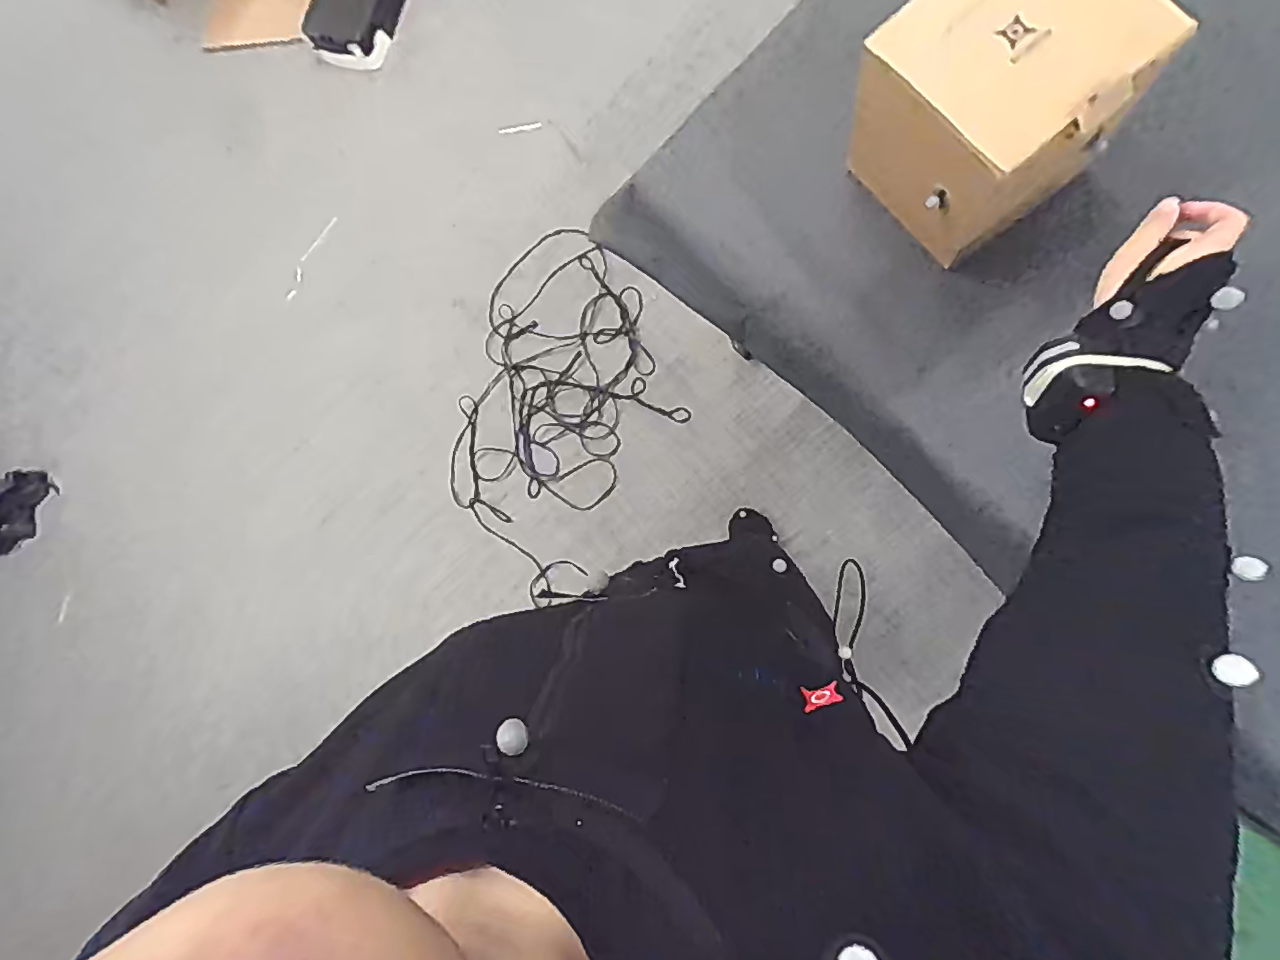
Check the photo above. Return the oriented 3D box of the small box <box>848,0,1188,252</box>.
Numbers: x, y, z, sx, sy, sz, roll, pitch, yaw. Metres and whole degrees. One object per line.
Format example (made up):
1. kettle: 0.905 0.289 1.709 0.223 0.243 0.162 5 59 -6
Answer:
1. small box: 0.323 -0.350 0.513 0.168 0.176 0.179 -38 75 9
